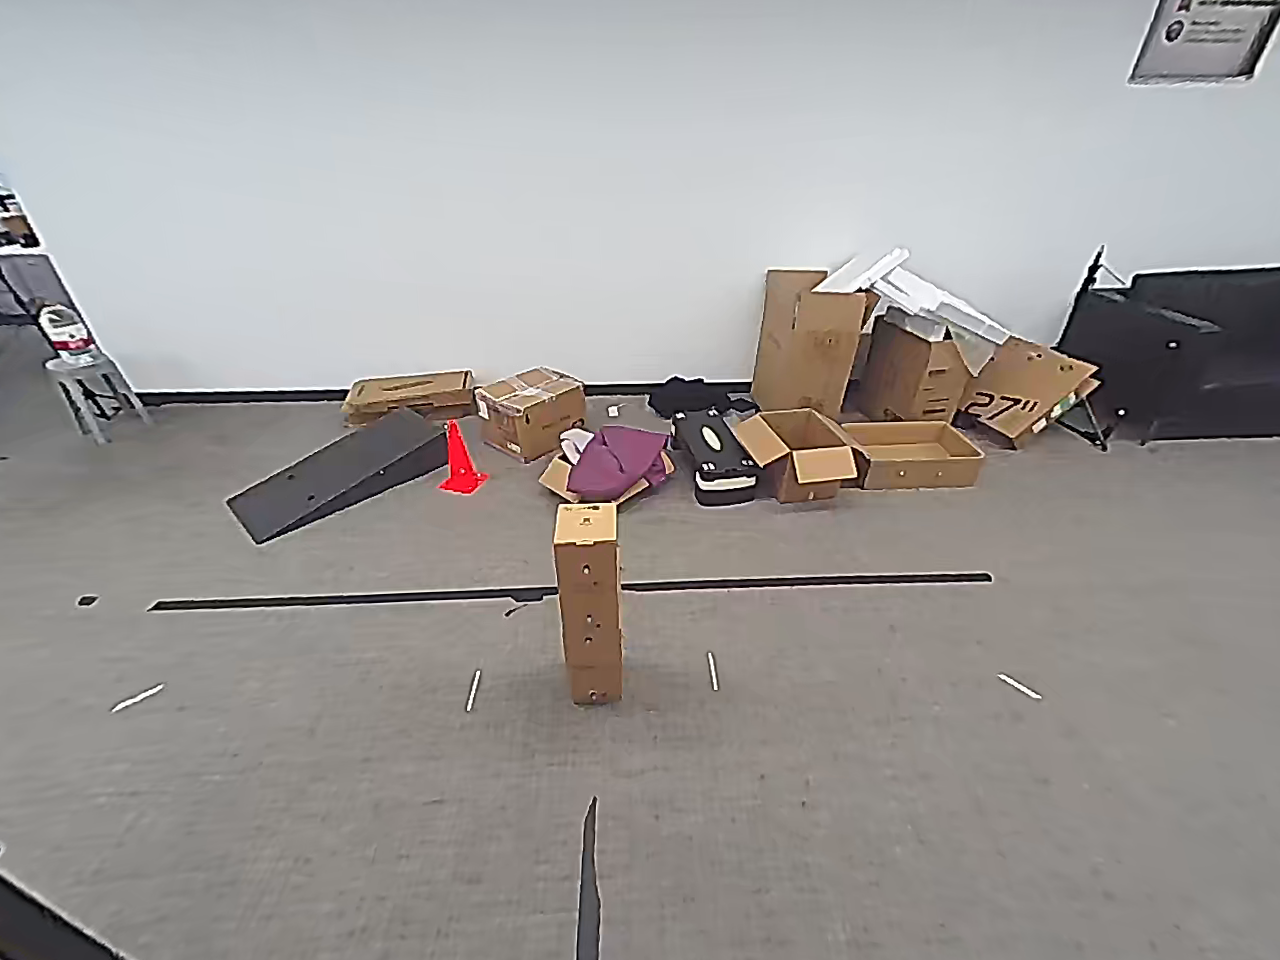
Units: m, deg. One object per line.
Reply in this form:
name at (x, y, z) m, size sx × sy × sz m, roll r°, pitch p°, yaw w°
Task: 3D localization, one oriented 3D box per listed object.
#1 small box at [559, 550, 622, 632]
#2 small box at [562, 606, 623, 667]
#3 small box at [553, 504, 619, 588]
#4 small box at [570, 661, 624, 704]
small box at (-0.141, 0.324, 1.597) m, size 0.168 × 0.176 × 0.179 m, roll -1°, pitch 33°, yaw 1°
small box at (-0.143, 0.464, 1.684) m, size 0.179 × 0.176 × 0.168 m, roll -2°, pitch 33°, yaw -3°
small box at (-0.145, 0.188, 1.506) m, size 0.168 × 0.176 × 0.179 m, roll -2°, pitch 33°, yaw -2°
small box at (-0.142, 0.603, 1.772) m, size 0.168 × 0.176 × 0.179 m, roll -5°, pitch 34°, yaw -6°
